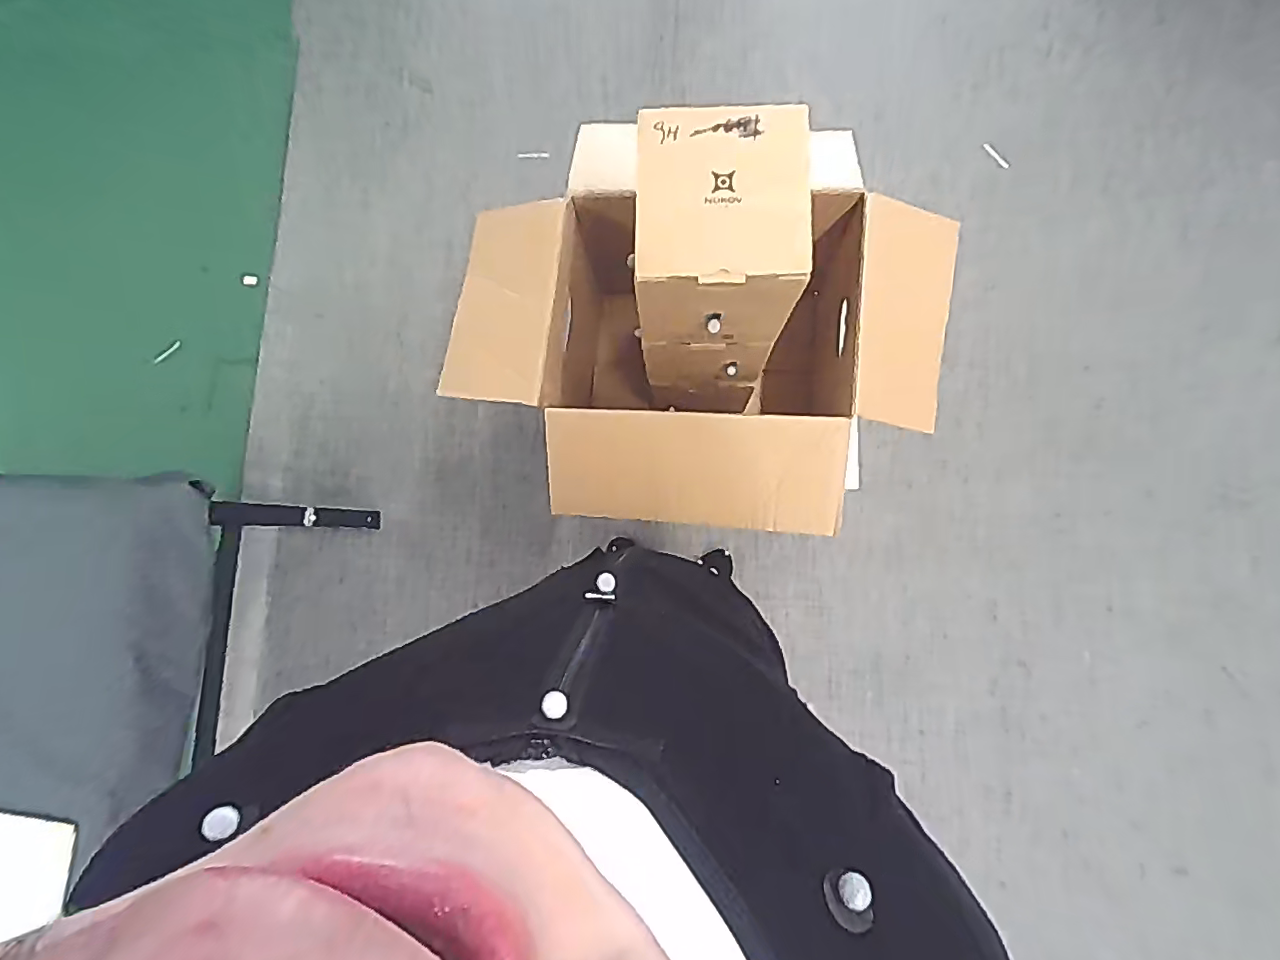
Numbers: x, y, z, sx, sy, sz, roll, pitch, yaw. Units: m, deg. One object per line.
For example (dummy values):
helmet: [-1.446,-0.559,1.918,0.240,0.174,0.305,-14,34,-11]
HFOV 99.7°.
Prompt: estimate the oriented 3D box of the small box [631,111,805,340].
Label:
small box: [0.079,-0.263,0.597,0.168,0.176,0.179,1,85,2]
